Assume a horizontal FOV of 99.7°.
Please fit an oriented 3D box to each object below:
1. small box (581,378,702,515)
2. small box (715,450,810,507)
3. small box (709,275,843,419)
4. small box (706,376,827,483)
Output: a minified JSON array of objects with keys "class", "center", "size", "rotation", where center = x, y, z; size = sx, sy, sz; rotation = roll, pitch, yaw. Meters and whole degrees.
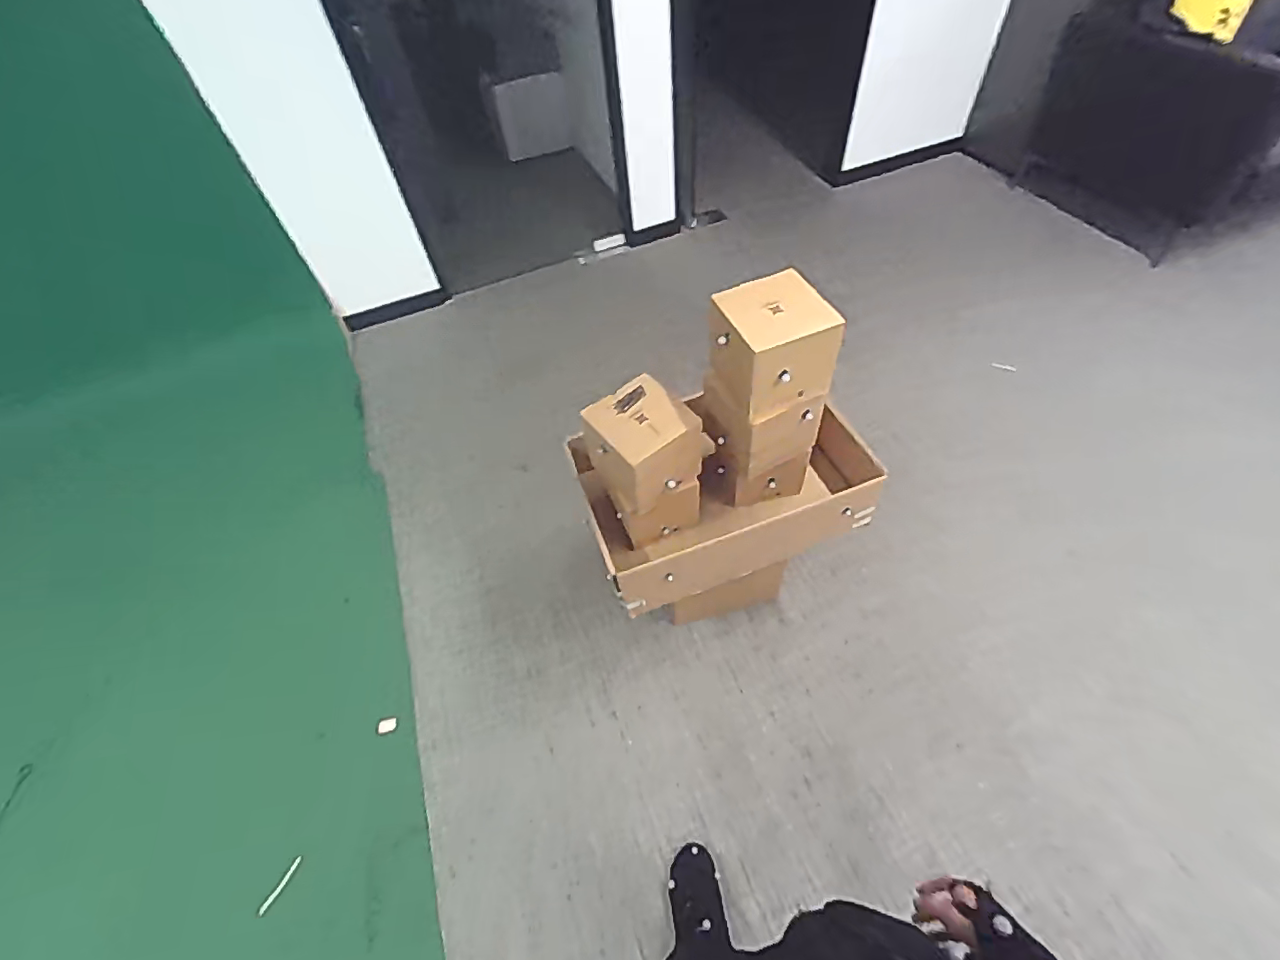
[{"class":"small box","center":[0.005,-0.063,1.078],"size":[0.168,0.176,0.179],"rotation":[-34,58,-18]},{"class":"small box","center":[0.274,-0.054,1.251],"size":[0.168,0.176,0.179],"rotation":[-11,54,-3]},{"class":"small box","center":[0.237,-0.232,0.979],"size":[0.168,0.176,0.179],"rotation":[-20,53,-7]},{"class":"small box","center":[0.247,-0.128,1.103],"size":[0.179,0.176,0.168],"rotation":[-27,54,-12]}]
